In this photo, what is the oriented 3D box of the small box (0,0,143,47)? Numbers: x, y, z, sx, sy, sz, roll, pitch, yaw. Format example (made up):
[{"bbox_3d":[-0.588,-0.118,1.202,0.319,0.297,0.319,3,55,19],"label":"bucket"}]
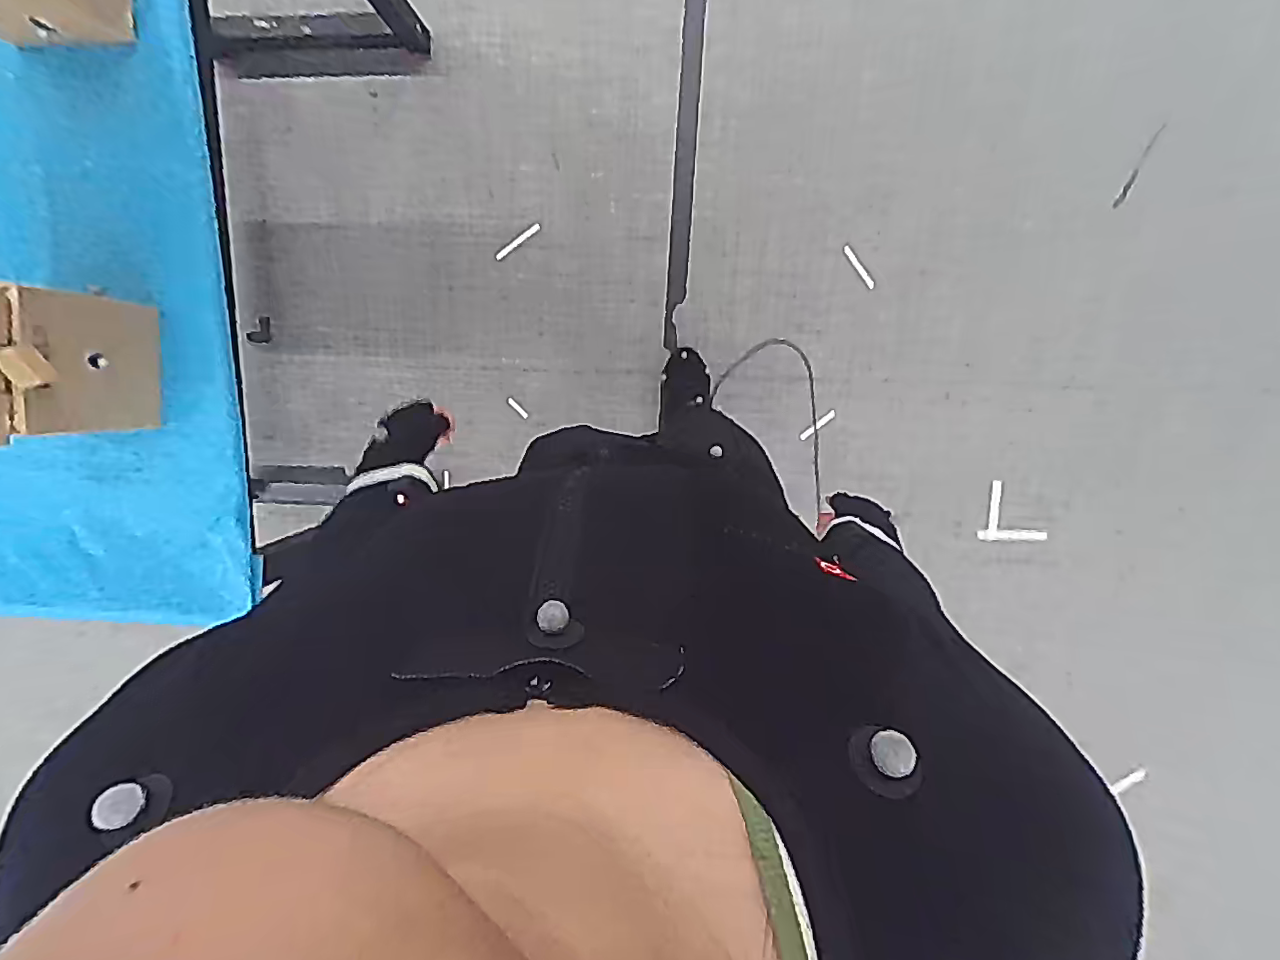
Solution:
[{"bbox_3d":[-0.716,-0.621,0.593,0.179,0.176,0.168,2,100,5],"label":"small box"}]

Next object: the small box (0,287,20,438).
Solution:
[{"bbox_3d":[-0.769,-0.125,0.511,0.179,0.176,0.168,11,100,1],"label":"small box"}]

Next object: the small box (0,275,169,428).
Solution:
[{"bbox_3d":[-0.745,-0.158,0.671,0.179,0.176,0.168,7,99,3],"label":"small box"}]
